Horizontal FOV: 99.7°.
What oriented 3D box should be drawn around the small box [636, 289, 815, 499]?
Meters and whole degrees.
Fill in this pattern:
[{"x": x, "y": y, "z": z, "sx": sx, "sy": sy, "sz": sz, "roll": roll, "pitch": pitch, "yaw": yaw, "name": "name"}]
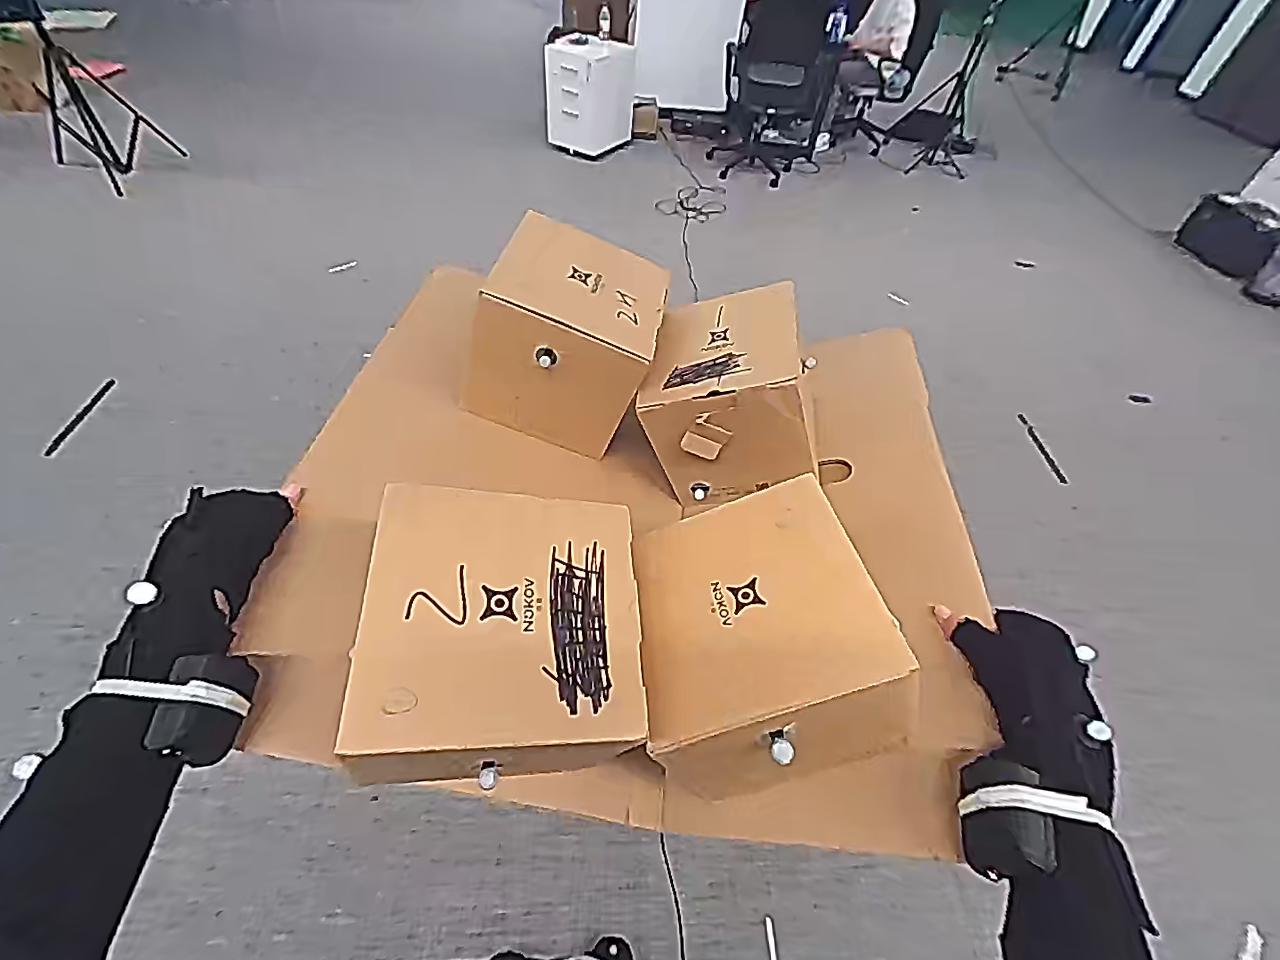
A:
[{"x": 0.111, "y": -0.090, "z": 0.641, "sx": 0.168, "sy": 0.176, "sz": 0.179, "roll": -7, "pitch": 47, "yaw": 21, "name": "small box"}]
